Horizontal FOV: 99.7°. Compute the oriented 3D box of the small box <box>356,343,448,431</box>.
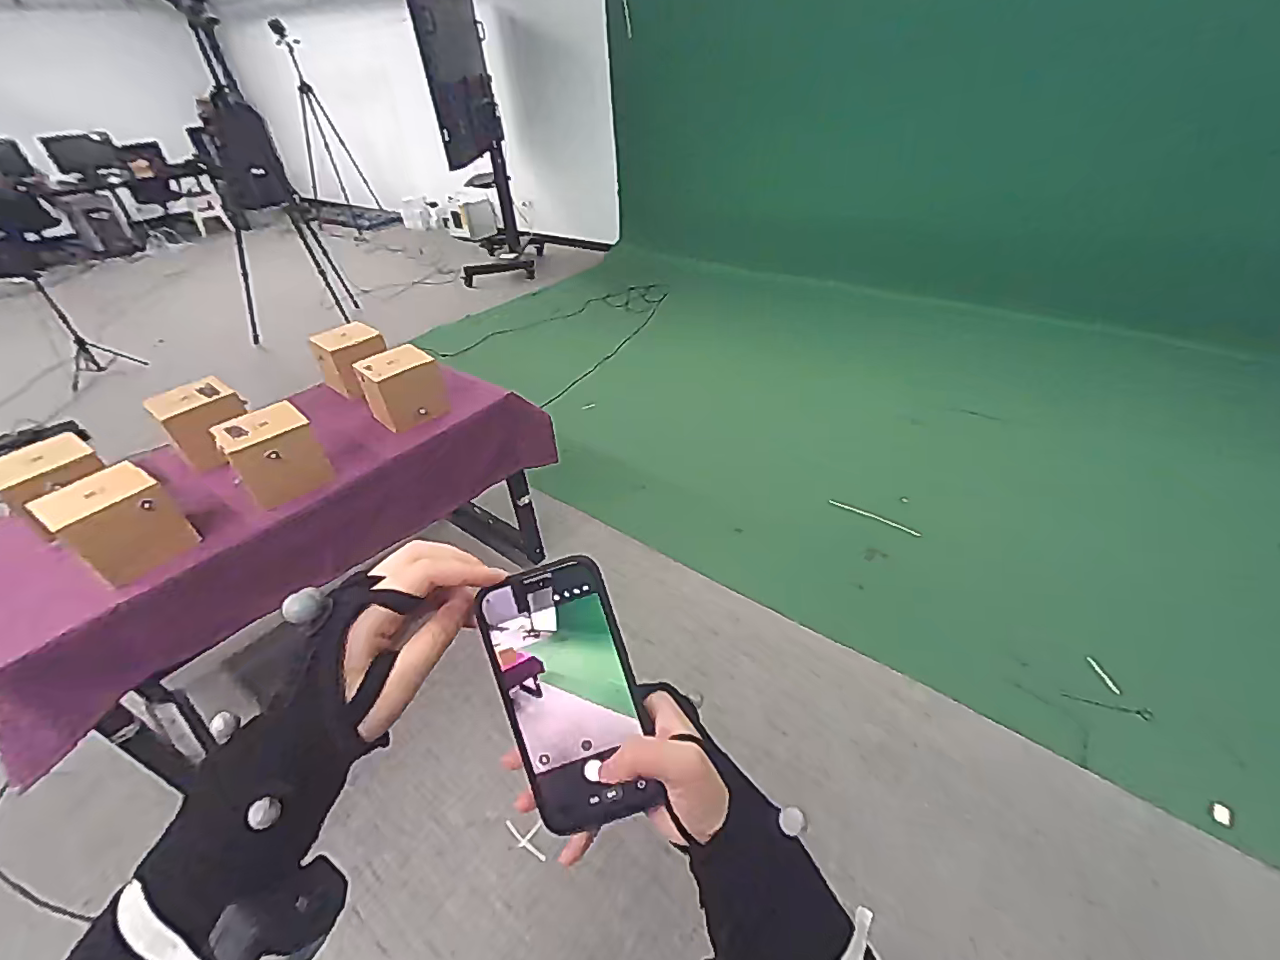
[{"bbox_3d":[-0.671,-0.266,1.547,0.179,0.176,0.168,-32,46,-32],"label":"small box"}]

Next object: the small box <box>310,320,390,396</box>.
[{"bbox_3d":[-0.904,-0.387,1.719,0.179,0.176,0.168,28,49,33],"label":"small box"}]

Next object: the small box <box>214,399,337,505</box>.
[{"bbox_3d":[-0.876,-0.068,1.310,0.168,0.176,0.179,30,48,35],"label":"small box"}]

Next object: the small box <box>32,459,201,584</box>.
[{"bbox_3d":[-1.084,0.086,1.133,0.168,0.176,0.179,19,42,27],"label":"small box"}]
